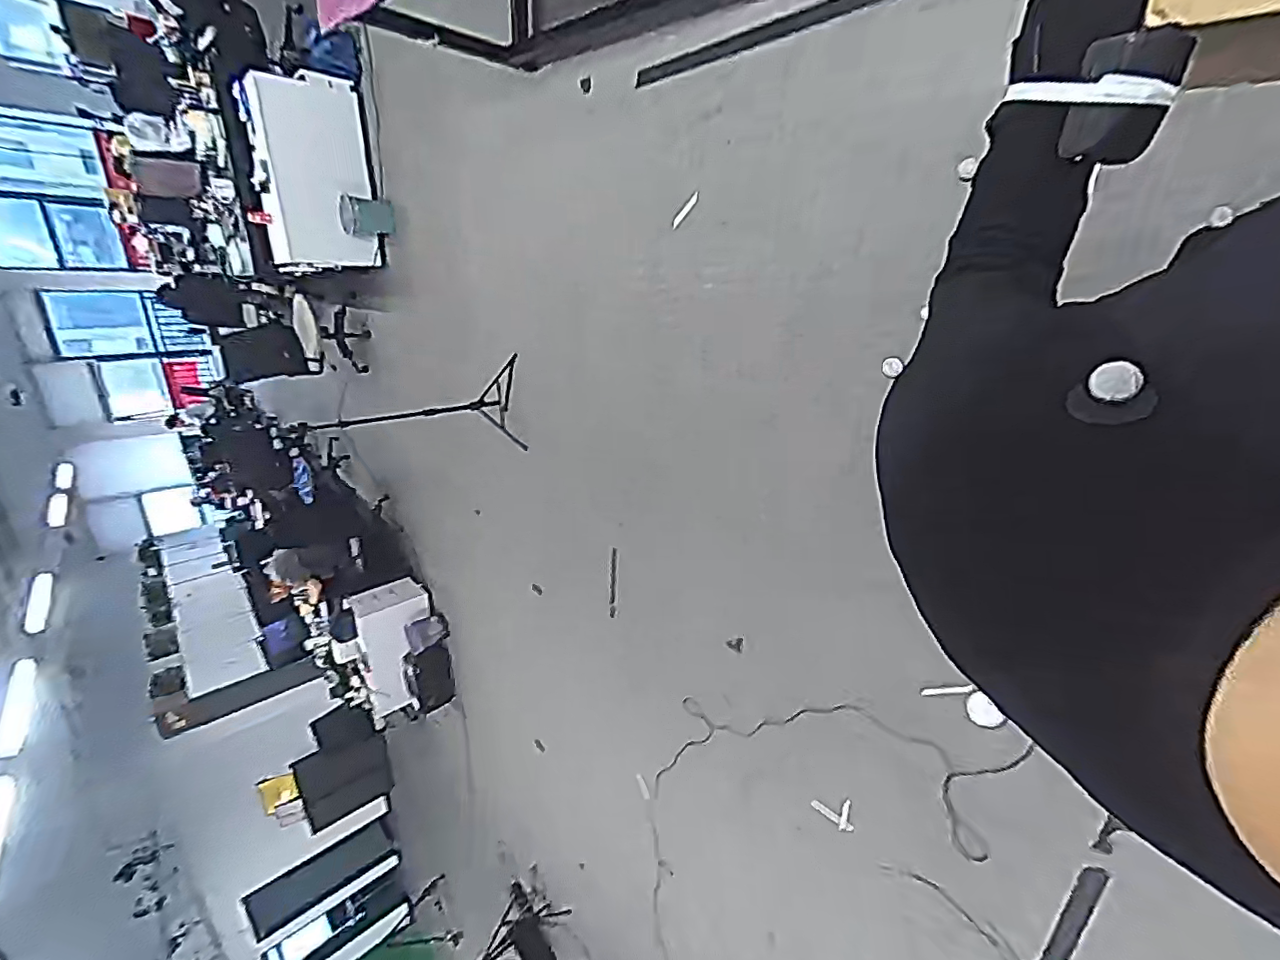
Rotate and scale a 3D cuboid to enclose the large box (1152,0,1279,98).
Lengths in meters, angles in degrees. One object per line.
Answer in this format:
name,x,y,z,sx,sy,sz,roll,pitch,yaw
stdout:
large box,0.546,-0.400,0.235,0.408,0.320,0.320,21,125,39
